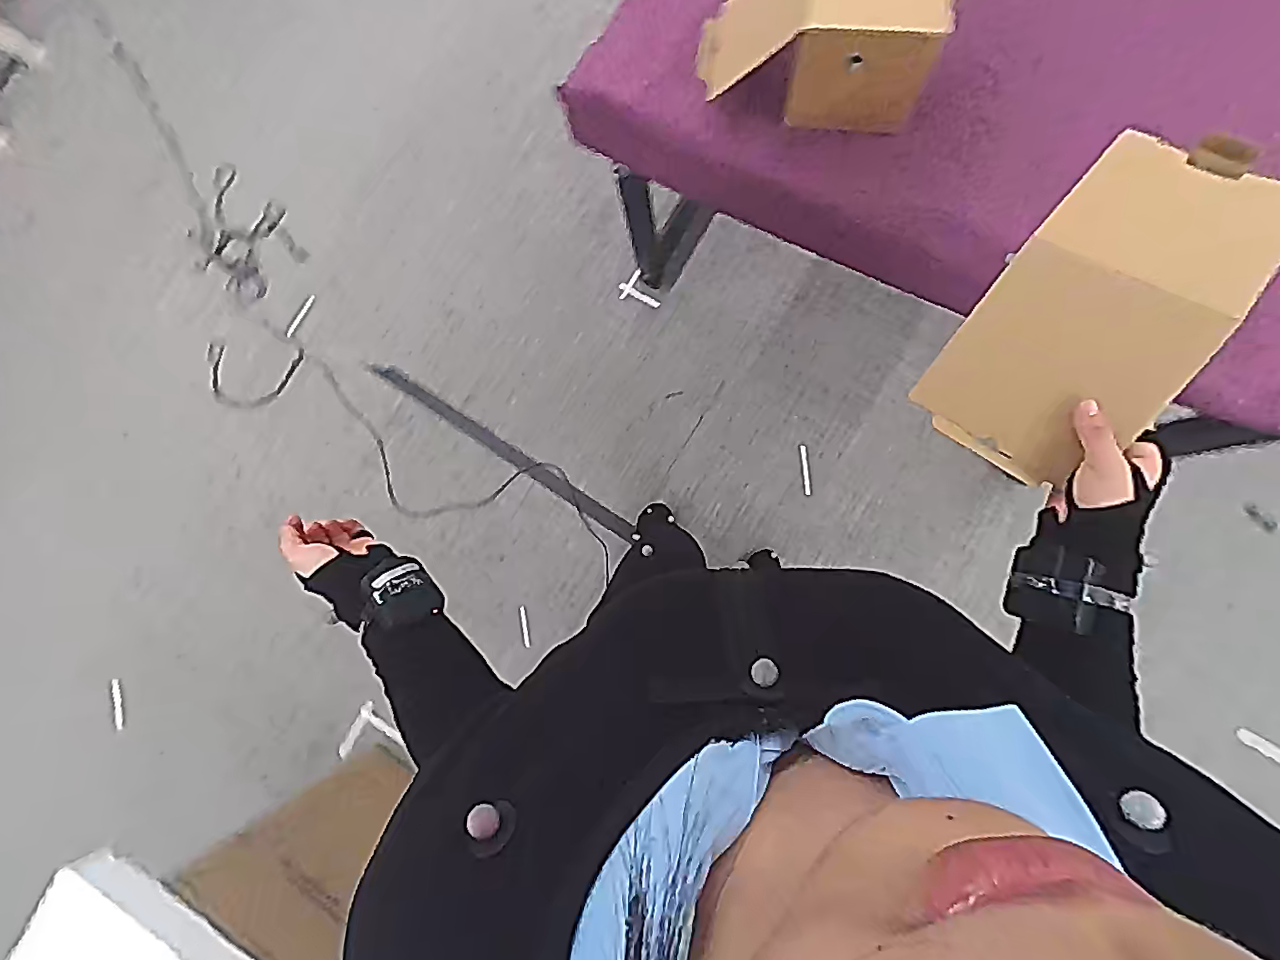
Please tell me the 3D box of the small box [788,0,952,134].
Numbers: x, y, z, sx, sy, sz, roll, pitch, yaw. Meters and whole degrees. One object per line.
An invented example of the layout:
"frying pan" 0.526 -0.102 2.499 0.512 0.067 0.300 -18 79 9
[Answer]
"small box" 0.312 -0.619 0.754 0.179 0.176 0.168 9 85 7
